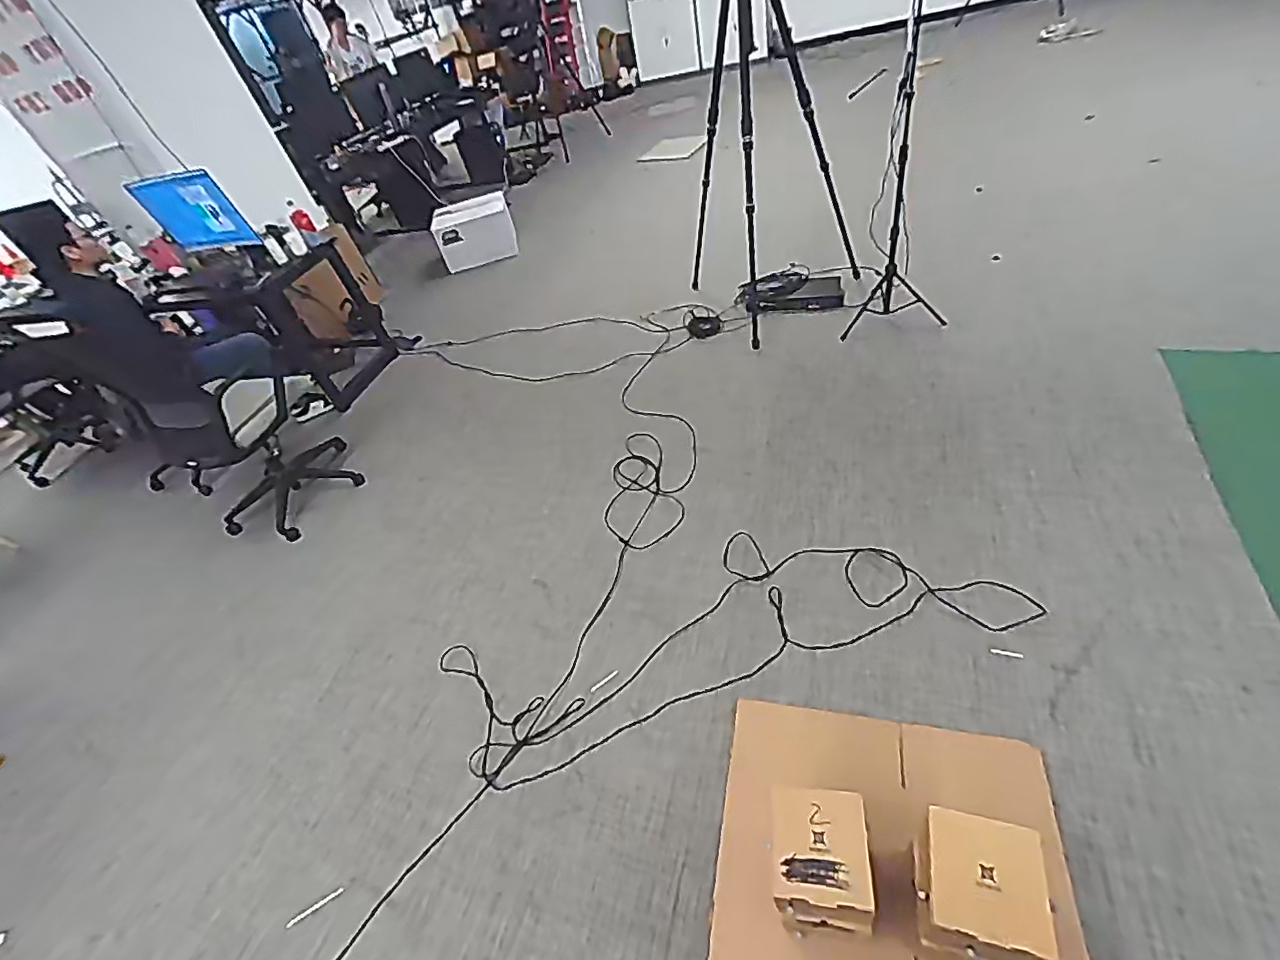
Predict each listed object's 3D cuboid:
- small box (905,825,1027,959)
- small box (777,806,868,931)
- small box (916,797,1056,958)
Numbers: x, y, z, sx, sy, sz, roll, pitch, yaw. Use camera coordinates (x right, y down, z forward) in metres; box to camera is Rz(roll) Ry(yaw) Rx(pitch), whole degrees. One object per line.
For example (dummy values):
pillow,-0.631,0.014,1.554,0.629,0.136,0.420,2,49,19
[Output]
small box,0.612,0.799,1.039,0.168,0.176,0.179,0,47,20
small box,0.372,0.800,1.112,0.168,0.176,0.179,-2,46,16
small box,0.578,0.683,0.931,0.168,0.176,0.179,3,49,21
